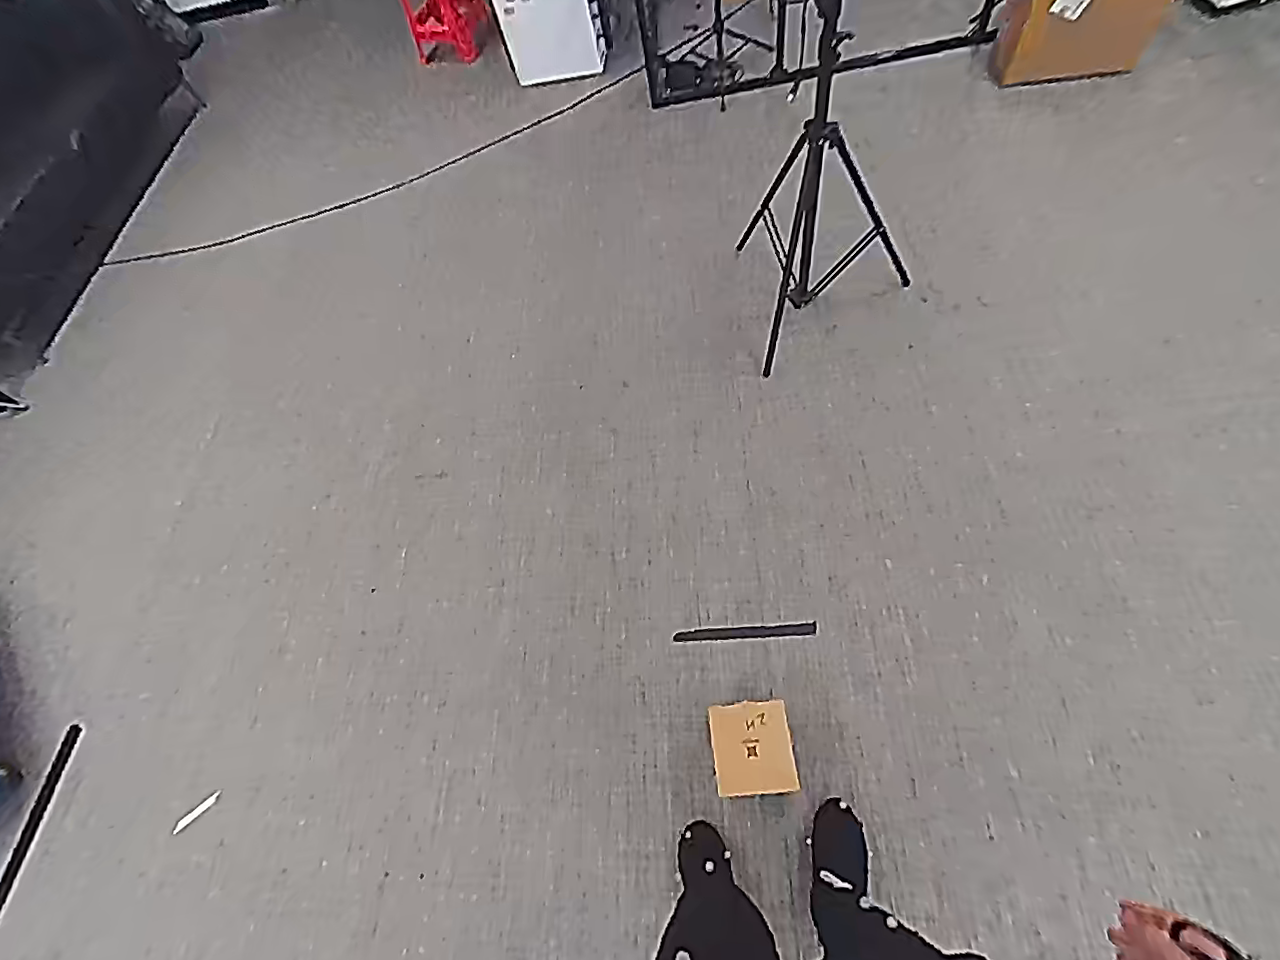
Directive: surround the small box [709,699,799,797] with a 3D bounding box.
[{"bbox_3d":[0.249,0.591,1.193,0.168,0.176,0.179,-8,61,7],"label":"small box"}]
